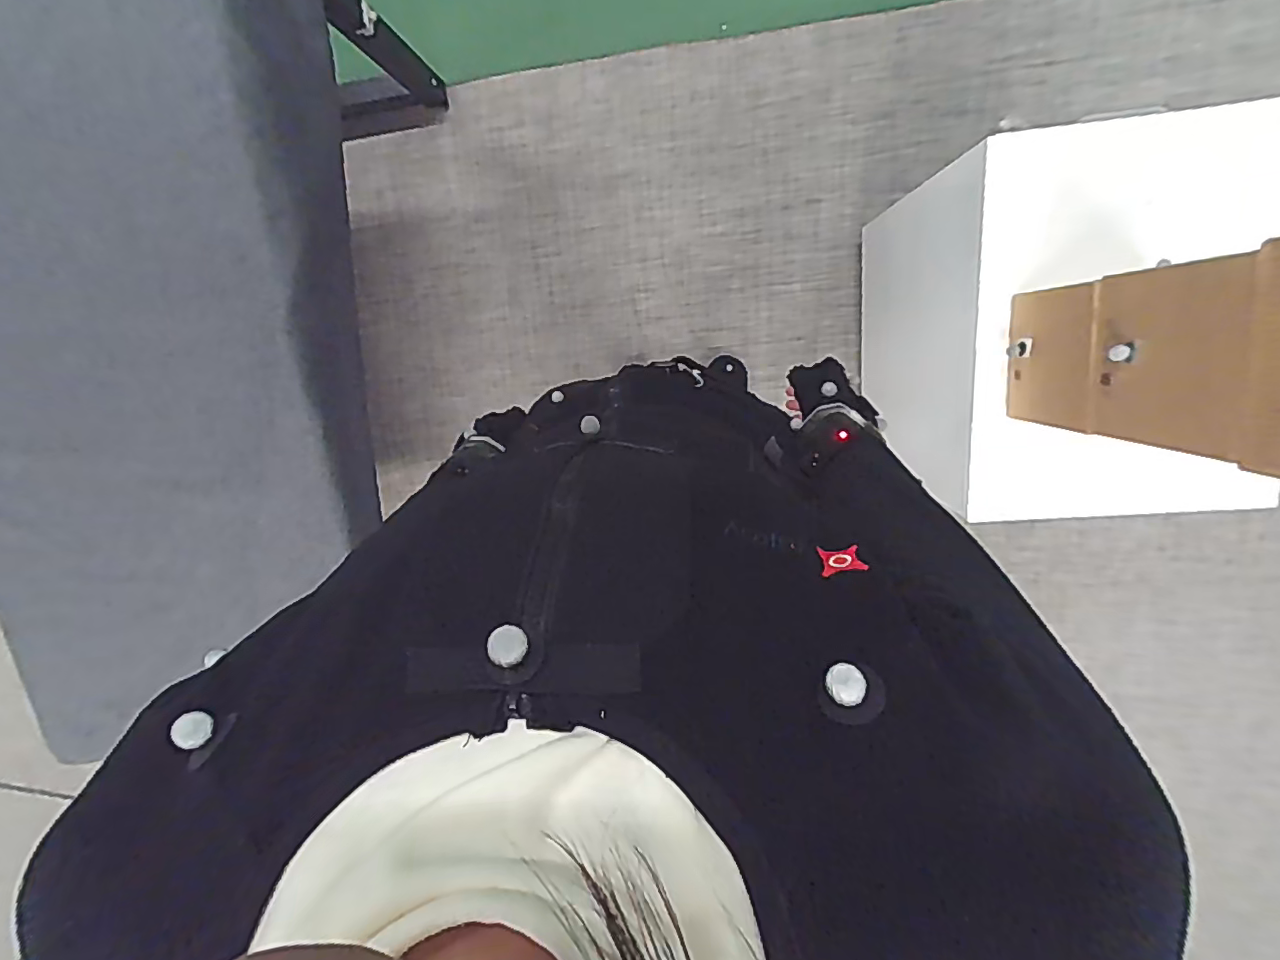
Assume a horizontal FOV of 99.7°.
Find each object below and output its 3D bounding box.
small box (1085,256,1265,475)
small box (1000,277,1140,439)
[{"bbox_3d":[0.549,-0.111,0.478,0.179,0.176,0.168,-7,103,7],"label":"small box"},{"bbox_3d":[0.564,-0.149,0.637,0.179,0.176,0.168,-5,102,9],"label":"small box"}]
